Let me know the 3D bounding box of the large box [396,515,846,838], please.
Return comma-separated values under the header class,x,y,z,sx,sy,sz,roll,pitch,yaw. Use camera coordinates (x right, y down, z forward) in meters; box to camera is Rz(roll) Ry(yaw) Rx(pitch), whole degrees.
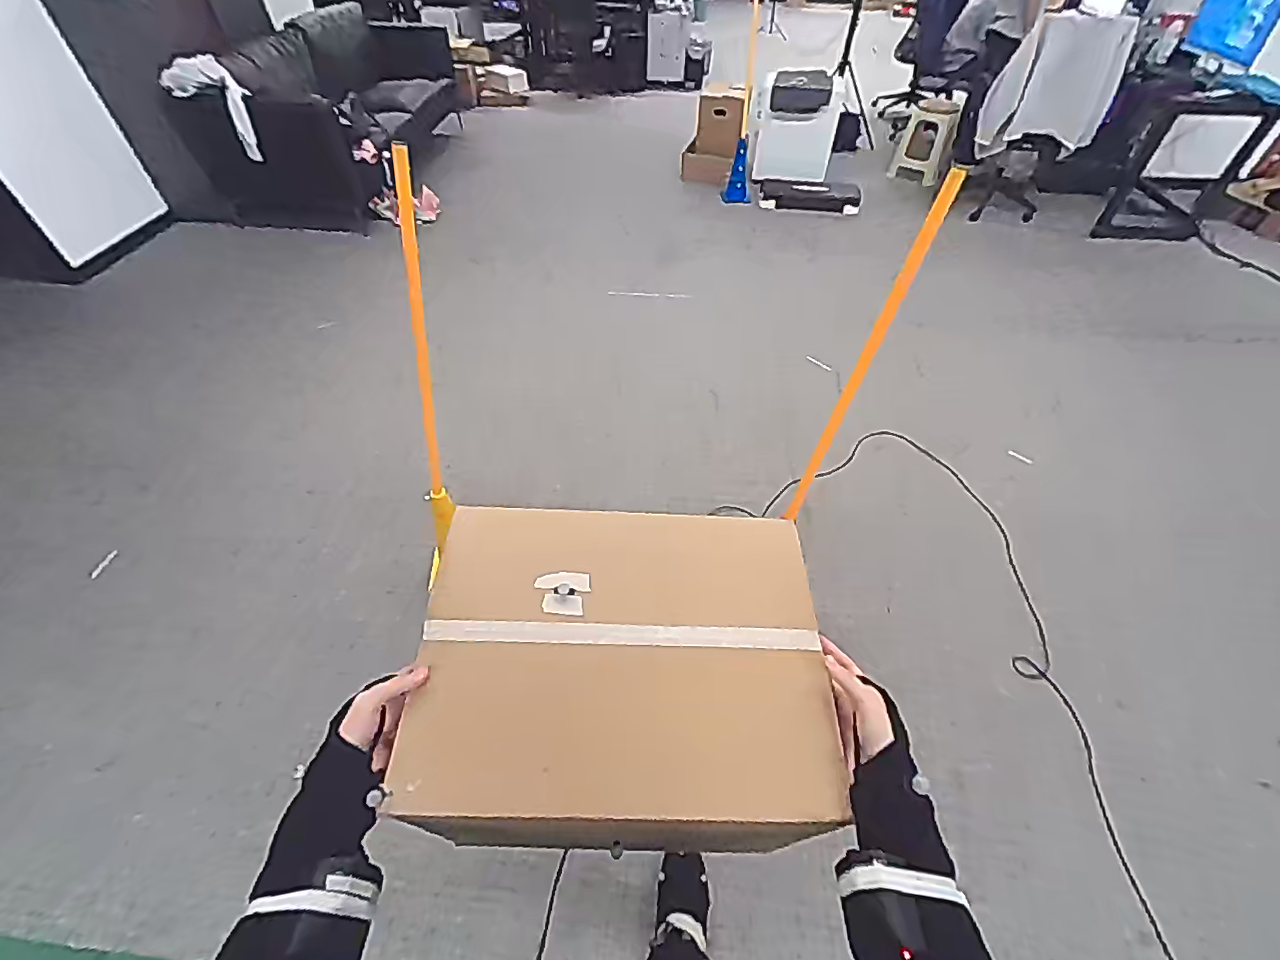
class,x,y,z,sx,sy,sz,roll,pitch,yaw
large box,-0.018,0.258,0.680,0.408,0.320,0.320,2,51,-2
